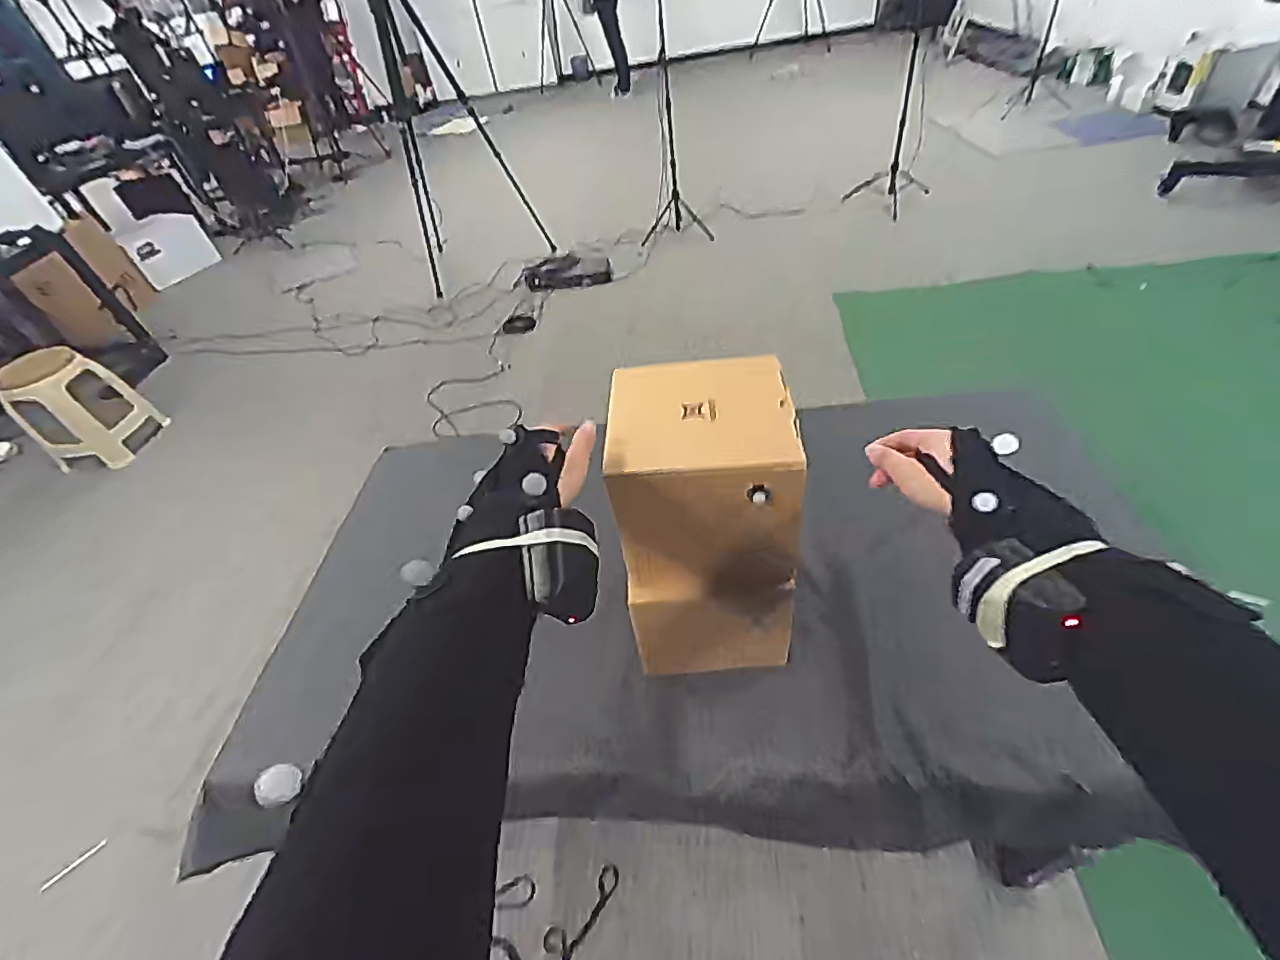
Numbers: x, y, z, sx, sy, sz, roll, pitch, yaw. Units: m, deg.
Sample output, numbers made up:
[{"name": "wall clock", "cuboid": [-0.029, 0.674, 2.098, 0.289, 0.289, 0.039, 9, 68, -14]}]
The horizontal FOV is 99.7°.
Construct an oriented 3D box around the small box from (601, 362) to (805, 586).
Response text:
[{"name": "small box", "cuboid": [0.065, -0.003, 0.567, 0.179, 0.176, 0.168, -4, 44, 6]}]
